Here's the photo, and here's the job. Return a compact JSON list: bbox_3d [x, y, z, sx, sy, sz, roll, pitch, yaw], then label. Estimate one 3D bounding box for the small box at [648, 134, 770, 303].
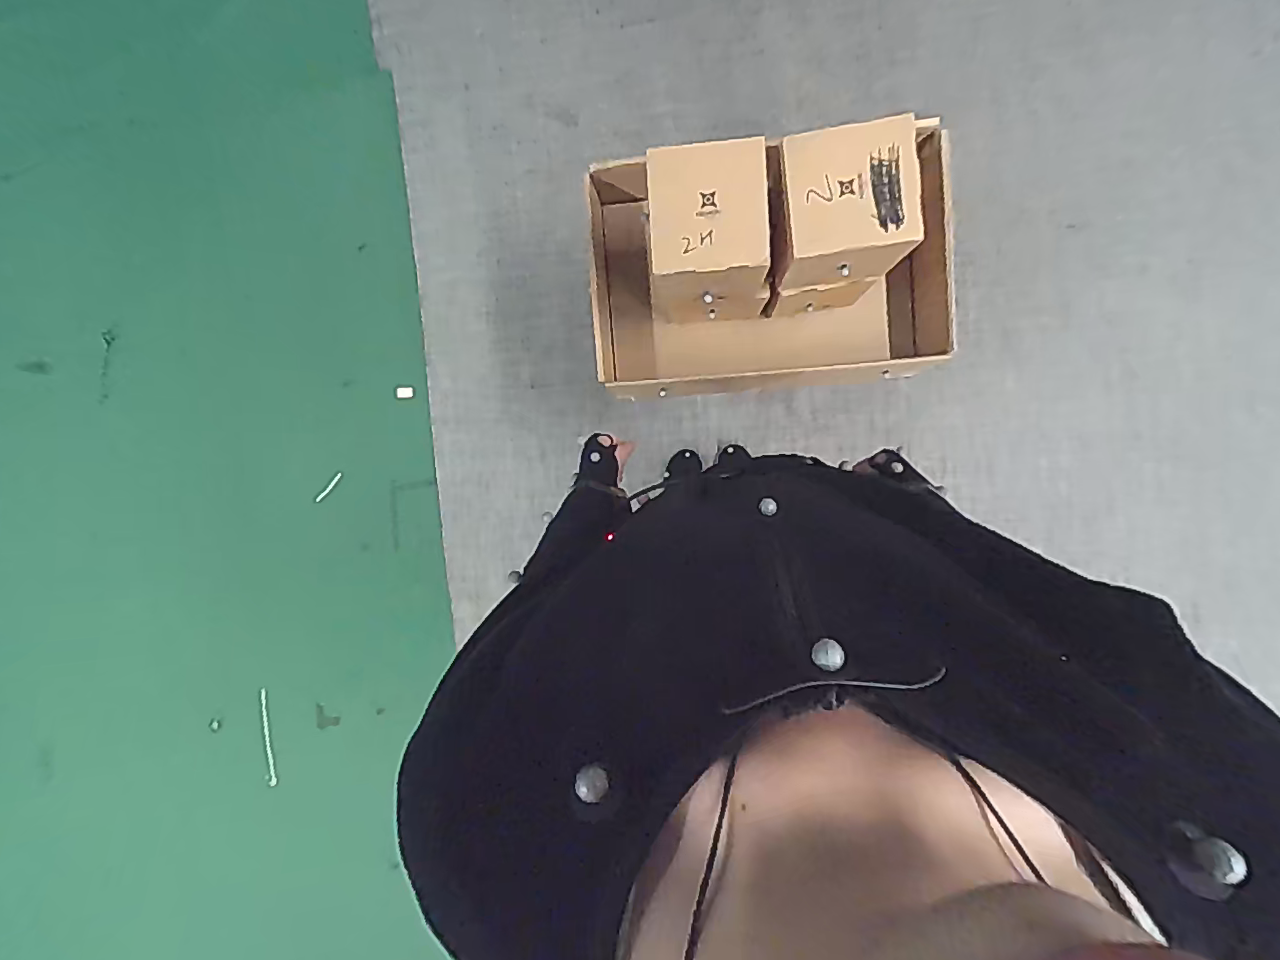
[{"bbox_3d":[0.101,-0.384,0.823,0.168,0.176,0.179,-3,93,6],"label":"small box"}]
